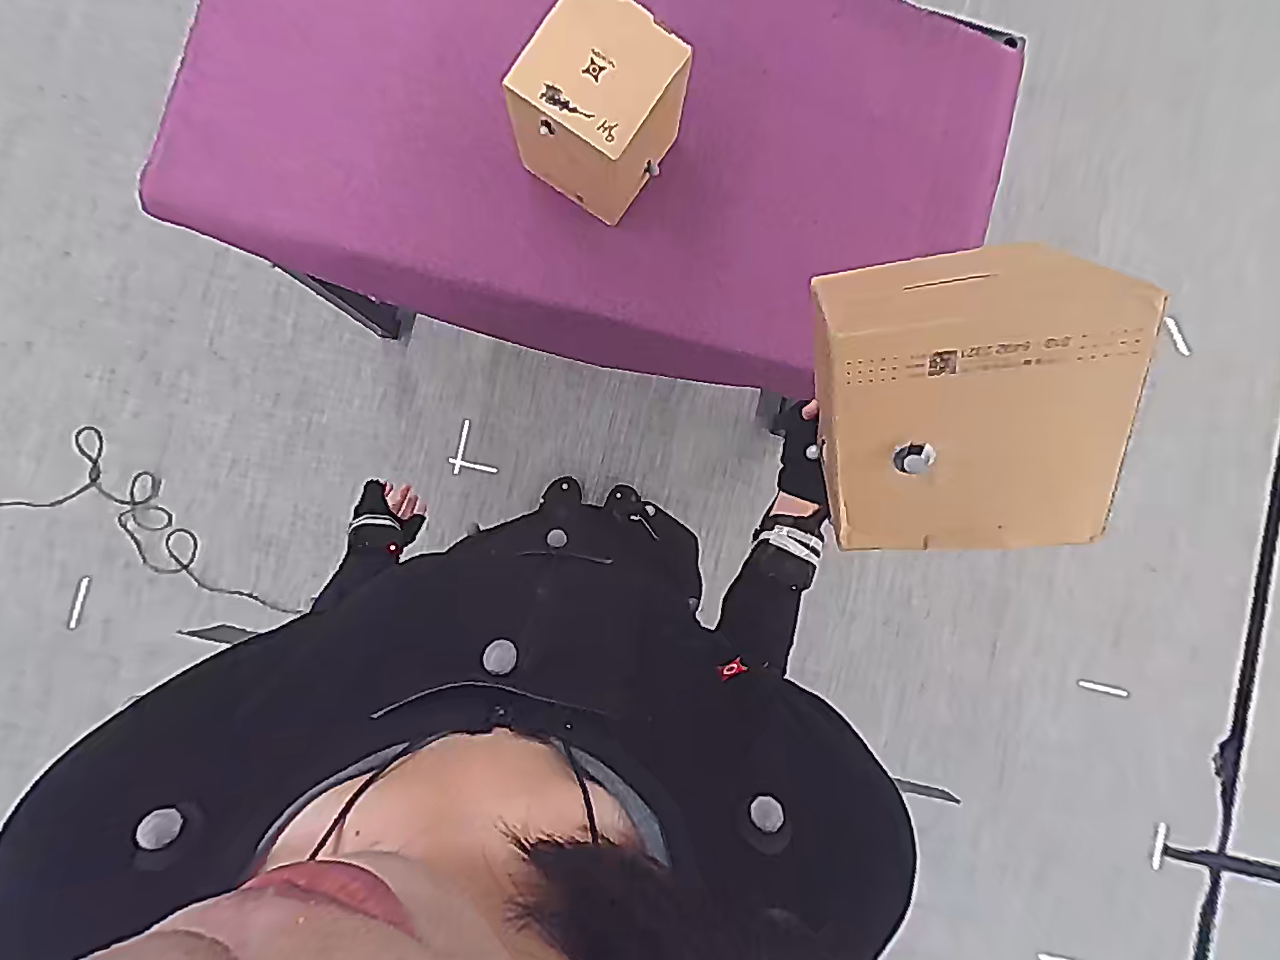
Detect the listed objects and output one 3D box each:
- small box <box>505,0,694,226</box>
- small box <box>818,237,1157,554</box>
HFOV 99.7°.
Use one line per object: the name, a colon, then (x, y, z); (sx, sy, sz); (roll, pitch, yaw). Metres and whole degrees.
small box: (-0.054, -0.490, 0.724); (0.168, 0.176, 0.179); (34, 86, -2)
small box: (0.224, -0.066, 0.397); (0.168, 0.179, 0.176); (-3, 120, 15)
